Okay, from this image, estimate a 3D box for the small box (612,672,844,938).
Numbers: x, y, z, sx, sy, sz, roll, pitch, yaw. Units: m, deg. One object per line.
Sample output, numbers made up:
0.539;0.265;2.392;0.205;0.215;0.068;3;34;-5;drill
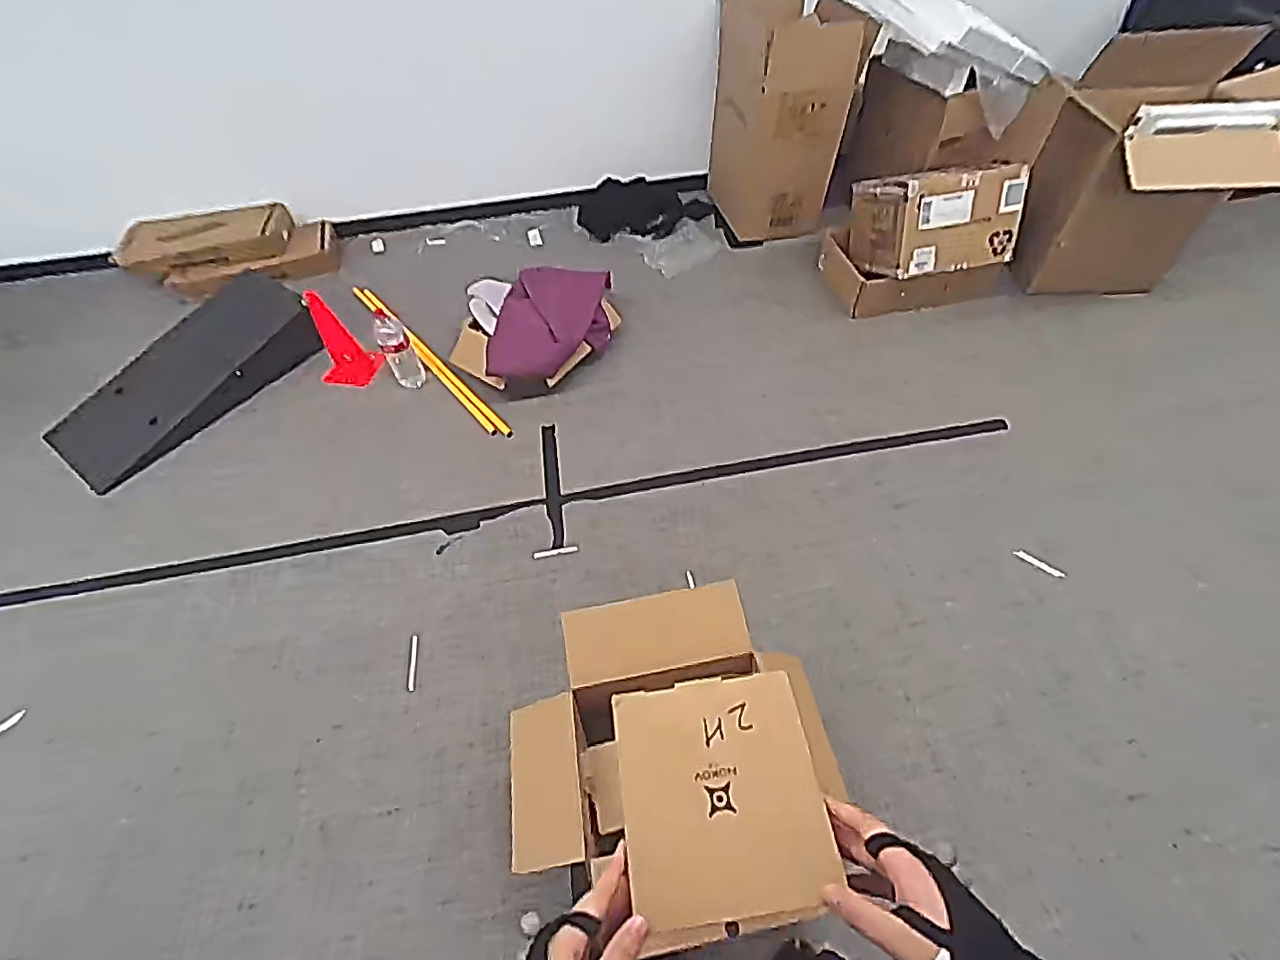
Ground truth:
0.070;0.304;0.514;0.168;0.176;0.179;-8;53;-1;small box
